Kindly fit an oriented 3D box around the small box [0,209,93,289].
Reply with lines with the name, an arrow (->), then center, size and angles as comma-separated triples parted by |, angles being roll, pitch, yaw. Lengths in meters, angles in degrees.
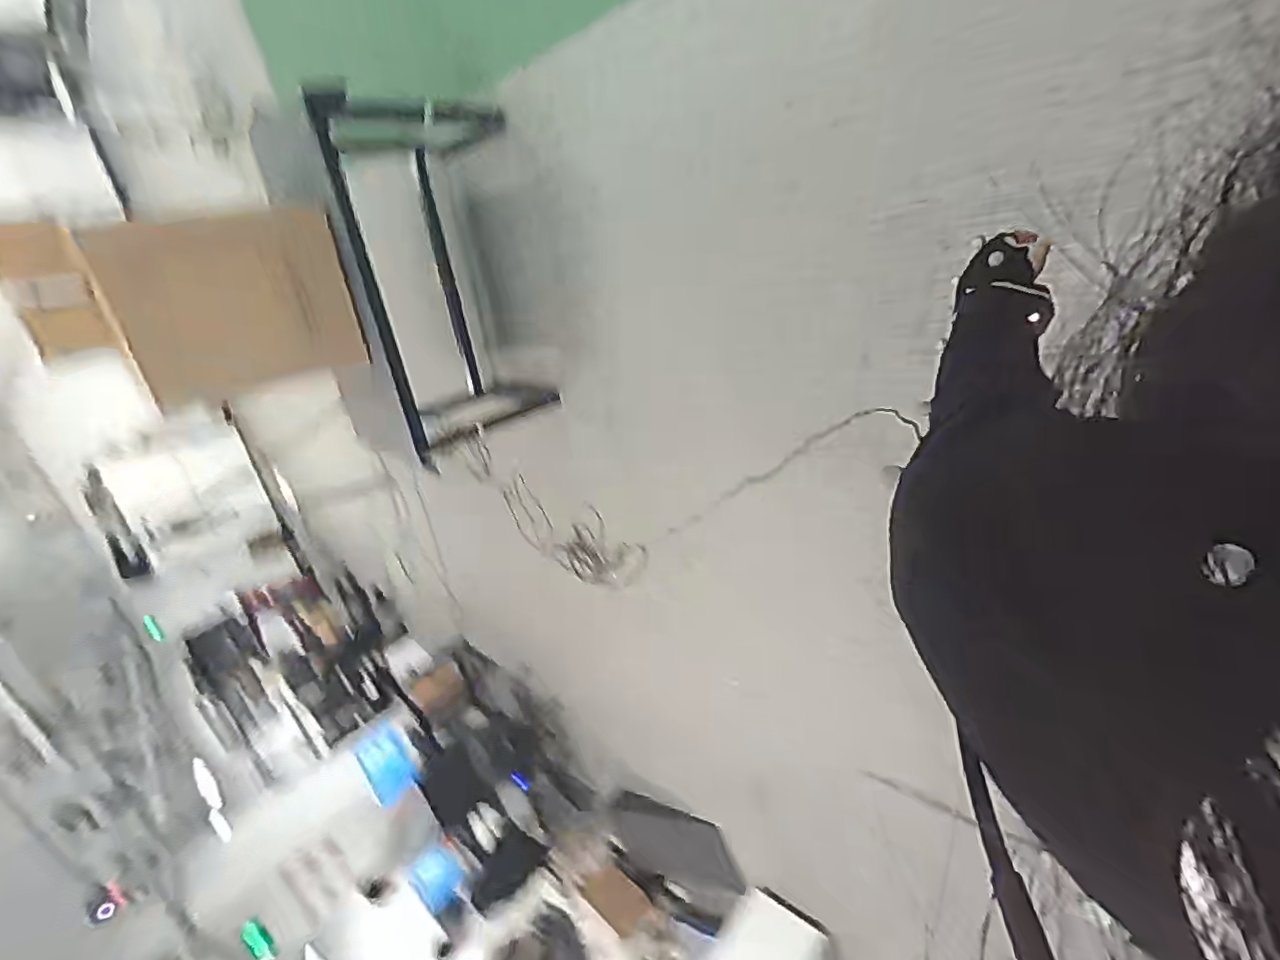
small box -> -1.560, -0.593, 1.392 | 0.179, 0.176, 0.168 | 9, 118, 41
